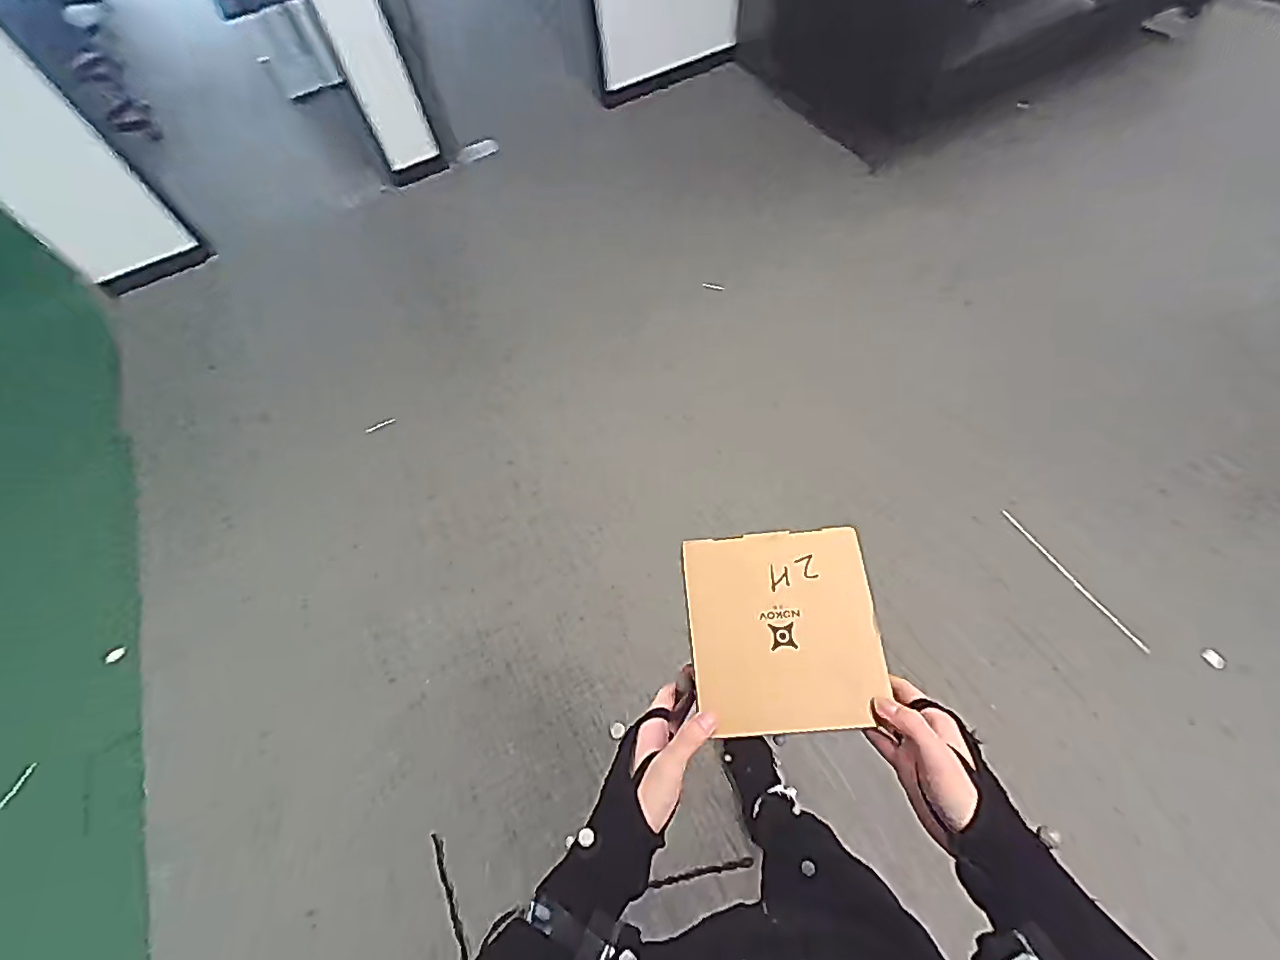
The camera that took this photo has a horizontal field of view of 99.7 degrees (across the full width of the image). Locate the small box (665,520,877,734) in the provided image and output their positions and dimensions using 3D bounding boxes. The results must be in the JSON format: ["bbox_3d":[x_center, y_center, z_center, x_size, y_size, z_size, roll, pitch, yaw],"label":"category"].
[{"bbox_3d":[0.114,0.150,0.541,0.168,0.176,0.179,-3,67,3],"label":"small box"}]
